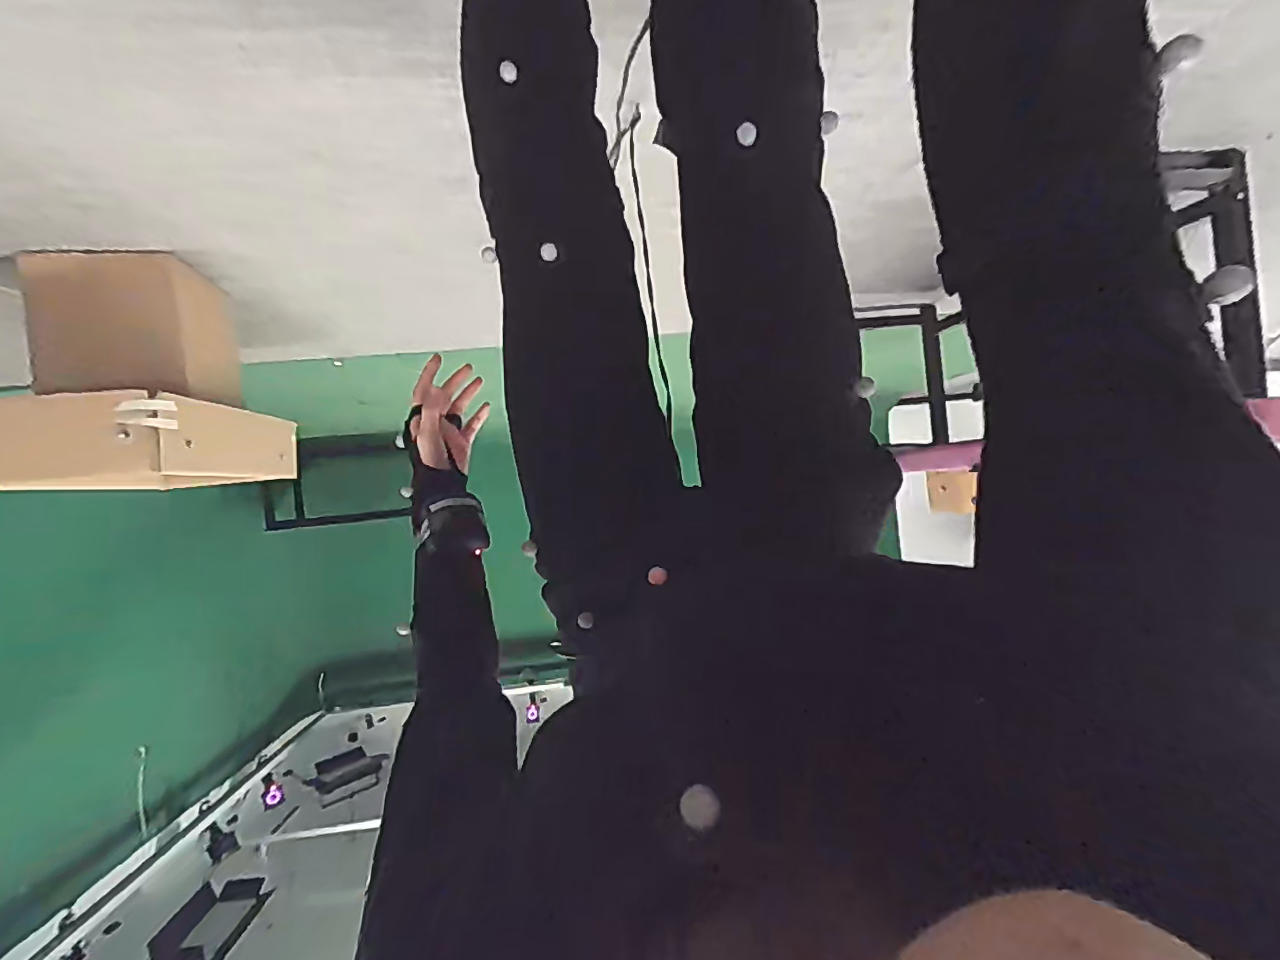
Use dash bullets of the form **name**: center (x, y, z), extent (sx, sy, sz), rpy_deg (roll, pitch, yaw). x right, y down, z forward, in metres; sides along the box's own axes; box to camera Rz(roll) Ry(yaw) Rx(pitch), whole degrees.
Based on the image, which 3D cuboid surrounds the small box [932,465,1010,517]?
- **small box**: center (1.177, 0.041, 1.937), extent (0.179, 0.176, 0.168), rpy_deg (-5, 179, -11)
